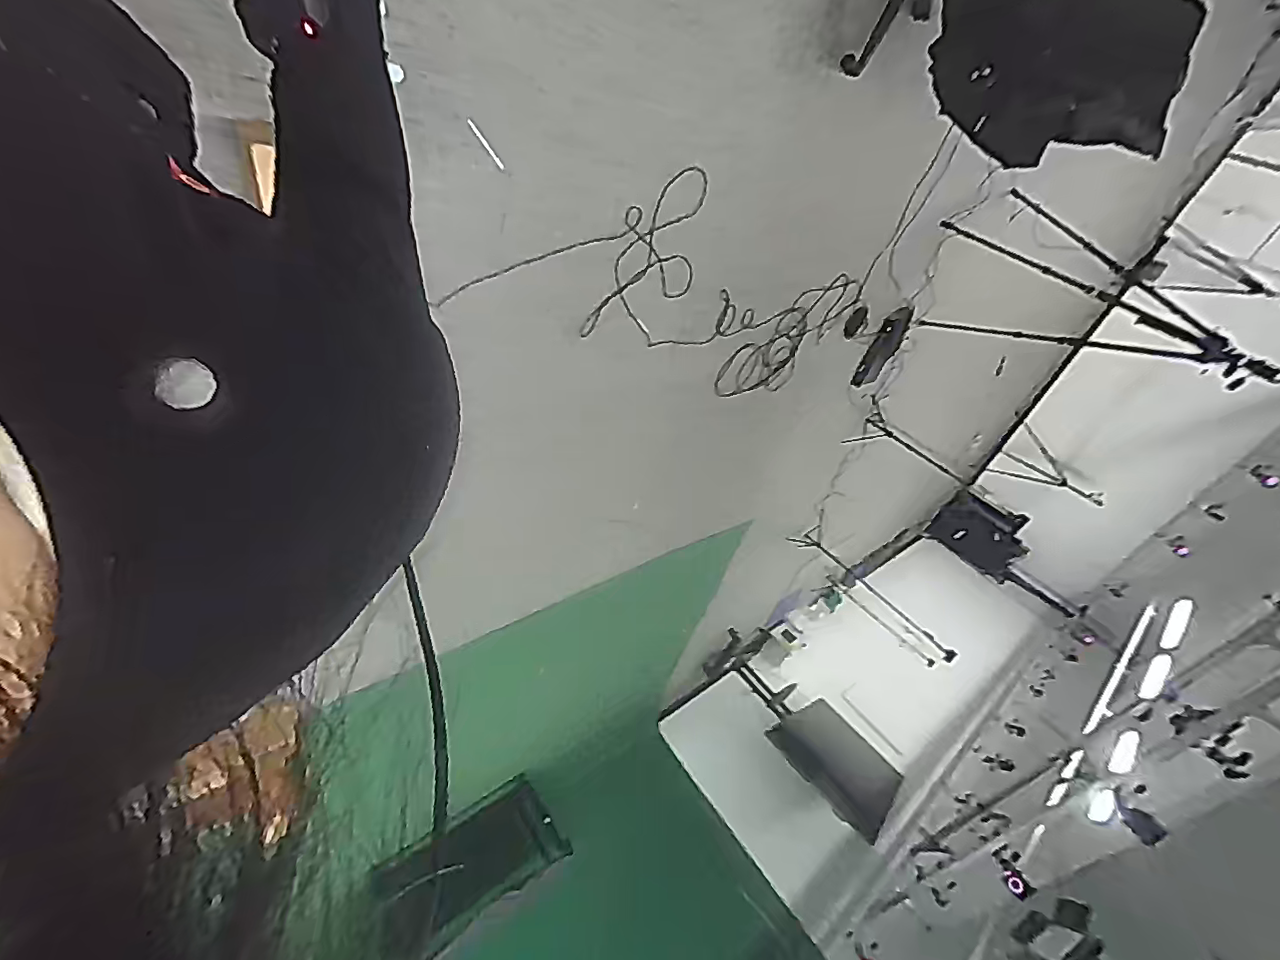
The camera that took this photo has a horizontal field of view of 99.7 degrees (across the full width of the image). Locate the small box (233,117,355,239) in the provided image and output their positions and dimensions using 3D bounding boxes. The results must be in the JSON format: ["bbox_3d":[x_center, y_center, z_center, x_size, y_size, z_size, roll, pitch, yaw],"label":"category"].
[{"bbox_3d":[-0.711,-0.620,1.118,0.168,0.176,0.179,-20,141,-35],"label":"small box"}]

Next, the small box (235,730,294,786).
[{"bbox_3d":[-1.482,1.126,2.144,0.168,0.176,0.179,-16,137,-38],"label":"small box"}]

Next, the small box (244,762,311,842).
[{"bbox_3d":[-1.377,1.215,2.054,0.179,0.176,0.168,-14,136,-38],"label":"small box"}]
